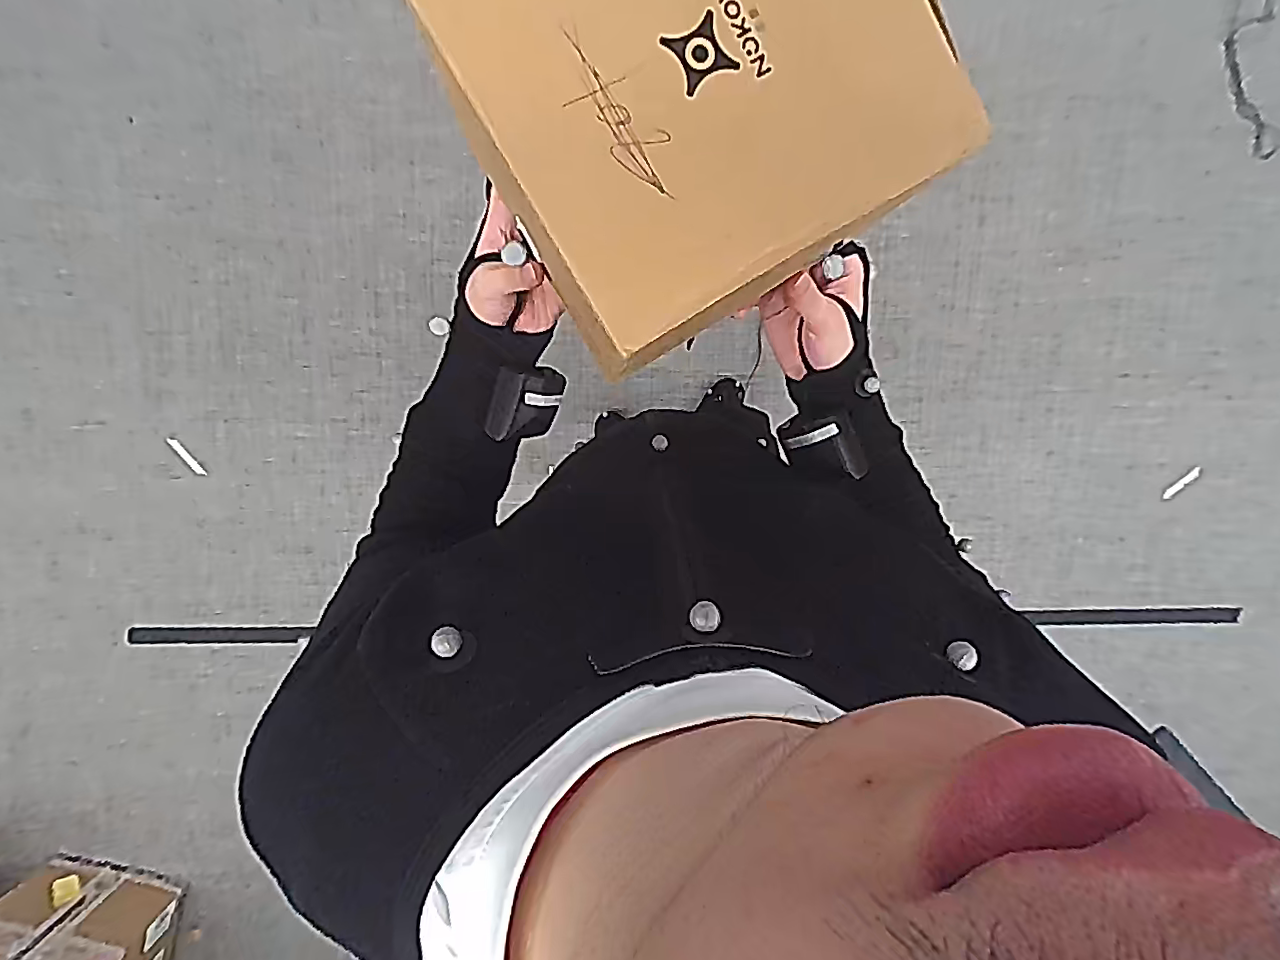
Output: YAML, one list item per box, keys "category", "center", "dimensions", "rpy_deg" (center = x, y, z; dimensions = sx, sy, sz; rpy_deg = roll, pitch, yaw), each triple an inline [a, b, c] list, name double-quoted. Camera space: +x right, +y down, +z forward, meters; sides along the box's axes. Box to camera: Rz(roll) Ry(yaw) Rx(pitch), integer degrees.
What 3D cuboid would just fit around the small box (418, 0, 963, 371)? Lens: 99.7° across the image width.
- category: "small box"
  center: [0.017, -0.176, 0.294]
  dimensions: [0.179, 0.176, 0.168]
  rpy_deg: [-31, 97, -1]
